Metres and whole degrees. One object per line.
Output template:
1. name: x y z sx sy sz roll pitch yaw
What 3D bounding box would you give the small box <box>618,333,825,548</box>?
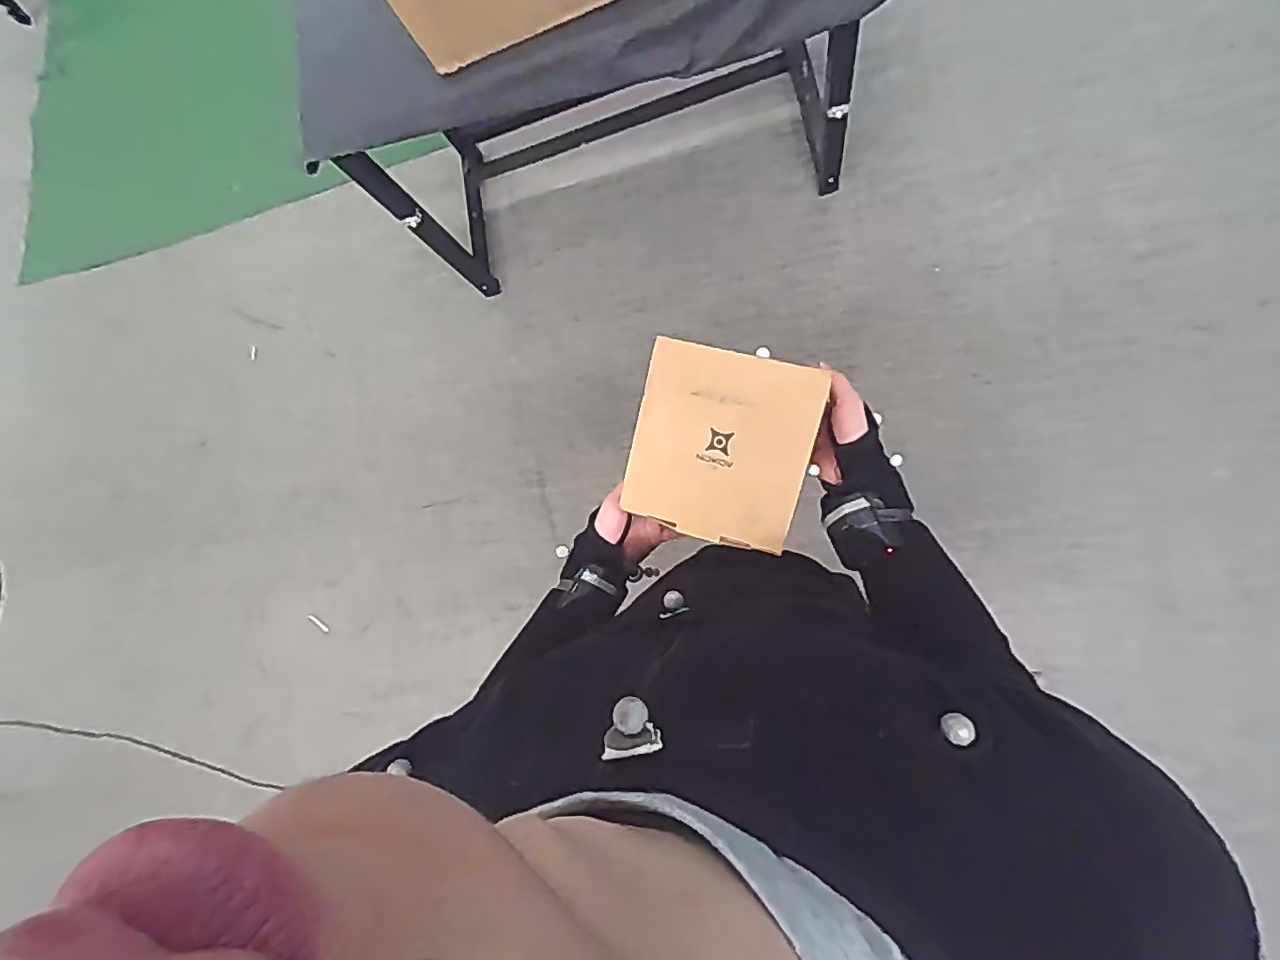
1. small box: 0.090 -0.048 0.589 0.168 0.176 0.179 14 101 10
